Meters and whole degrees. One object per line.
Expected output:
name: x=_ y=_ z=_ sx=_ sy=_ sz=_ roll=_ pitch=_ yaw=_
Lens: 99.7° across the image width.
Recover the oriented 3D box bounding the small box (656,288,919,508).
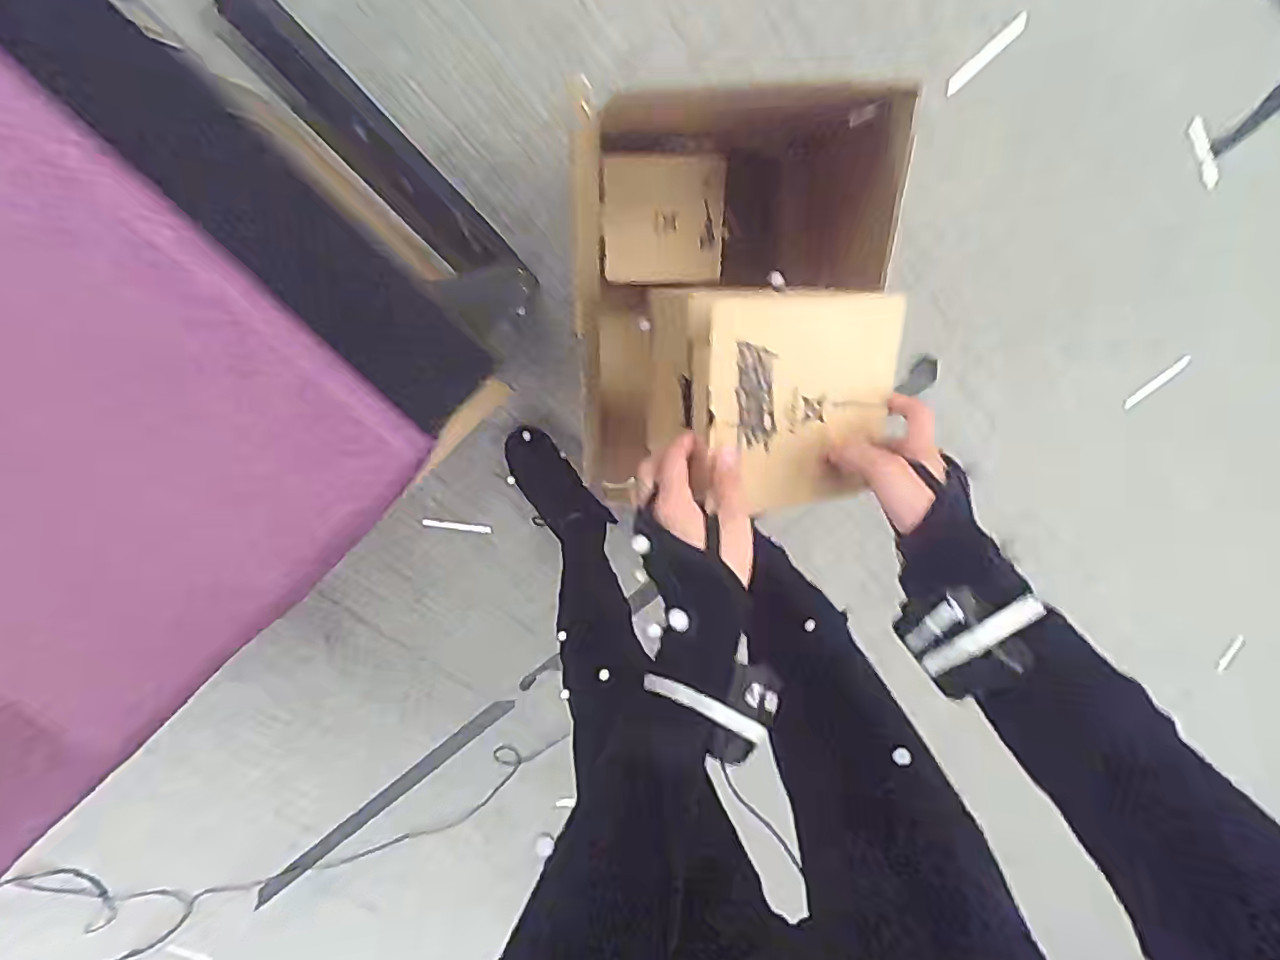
small box: x=0.112 y=-0.085 z=0.495 sx=0.179 sy=0.176 sz=0.168 roll=-4 pitch=112 yaw=-9
